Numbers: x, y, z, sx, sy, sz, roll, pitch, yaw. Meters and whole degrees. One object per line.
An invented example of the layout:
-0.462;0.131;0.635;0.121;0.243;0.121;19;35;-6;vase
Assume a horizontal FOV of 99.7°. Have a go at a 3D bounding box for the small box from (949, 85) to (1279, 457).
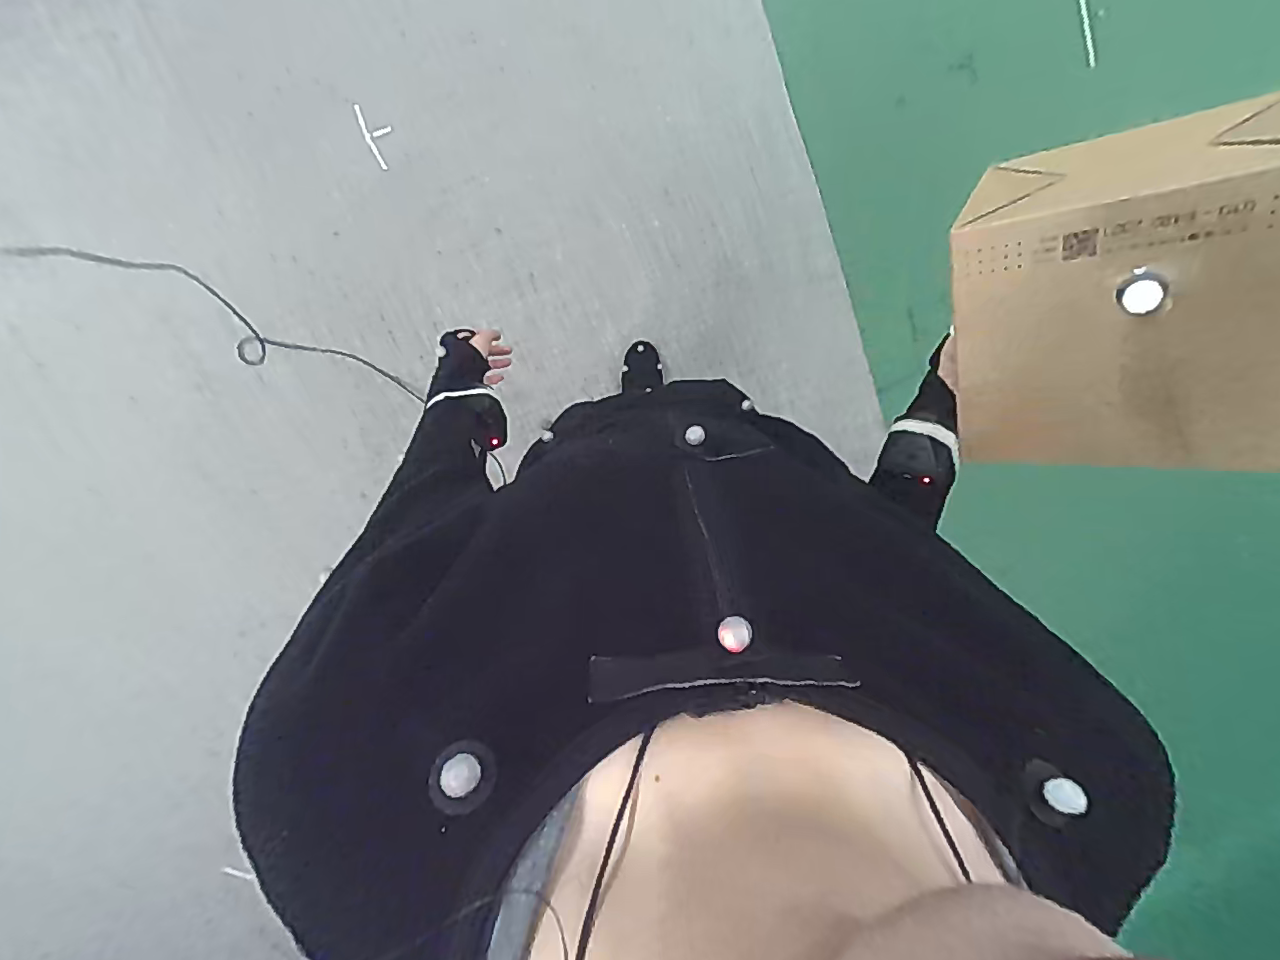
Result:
0.315;-0.133;0.359;0.179;0.168;0.176;-48;127;-38;small box
